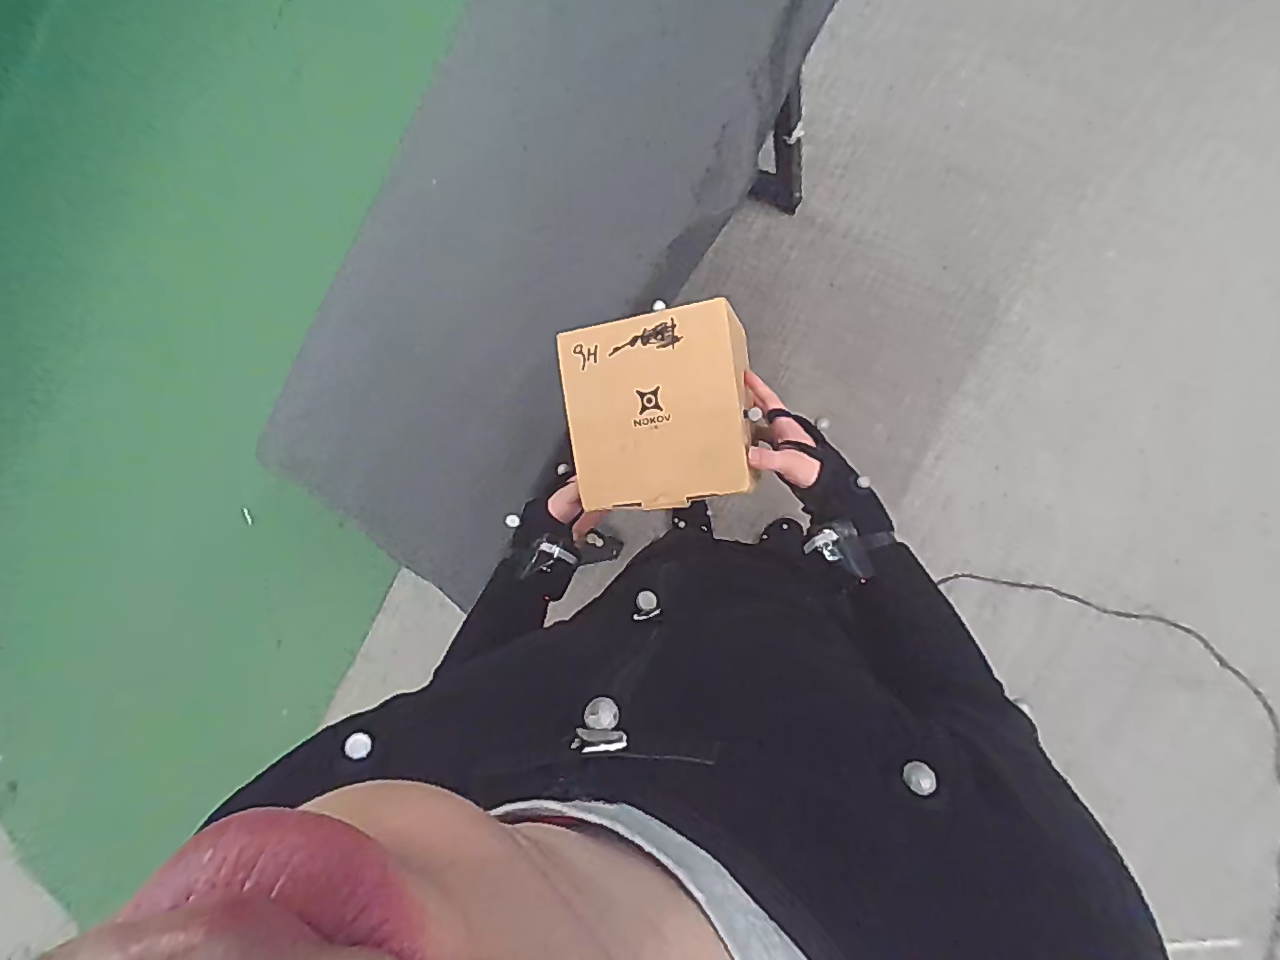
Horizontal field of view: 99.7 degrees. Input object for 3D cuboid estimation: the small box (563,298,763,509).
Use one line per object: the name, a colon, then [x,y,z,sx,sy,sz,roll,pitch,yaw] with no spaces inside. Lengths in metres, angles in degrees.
small box: [0.036,-0.074,0.572,0.168,0.176,0.179,-7,94,15]
